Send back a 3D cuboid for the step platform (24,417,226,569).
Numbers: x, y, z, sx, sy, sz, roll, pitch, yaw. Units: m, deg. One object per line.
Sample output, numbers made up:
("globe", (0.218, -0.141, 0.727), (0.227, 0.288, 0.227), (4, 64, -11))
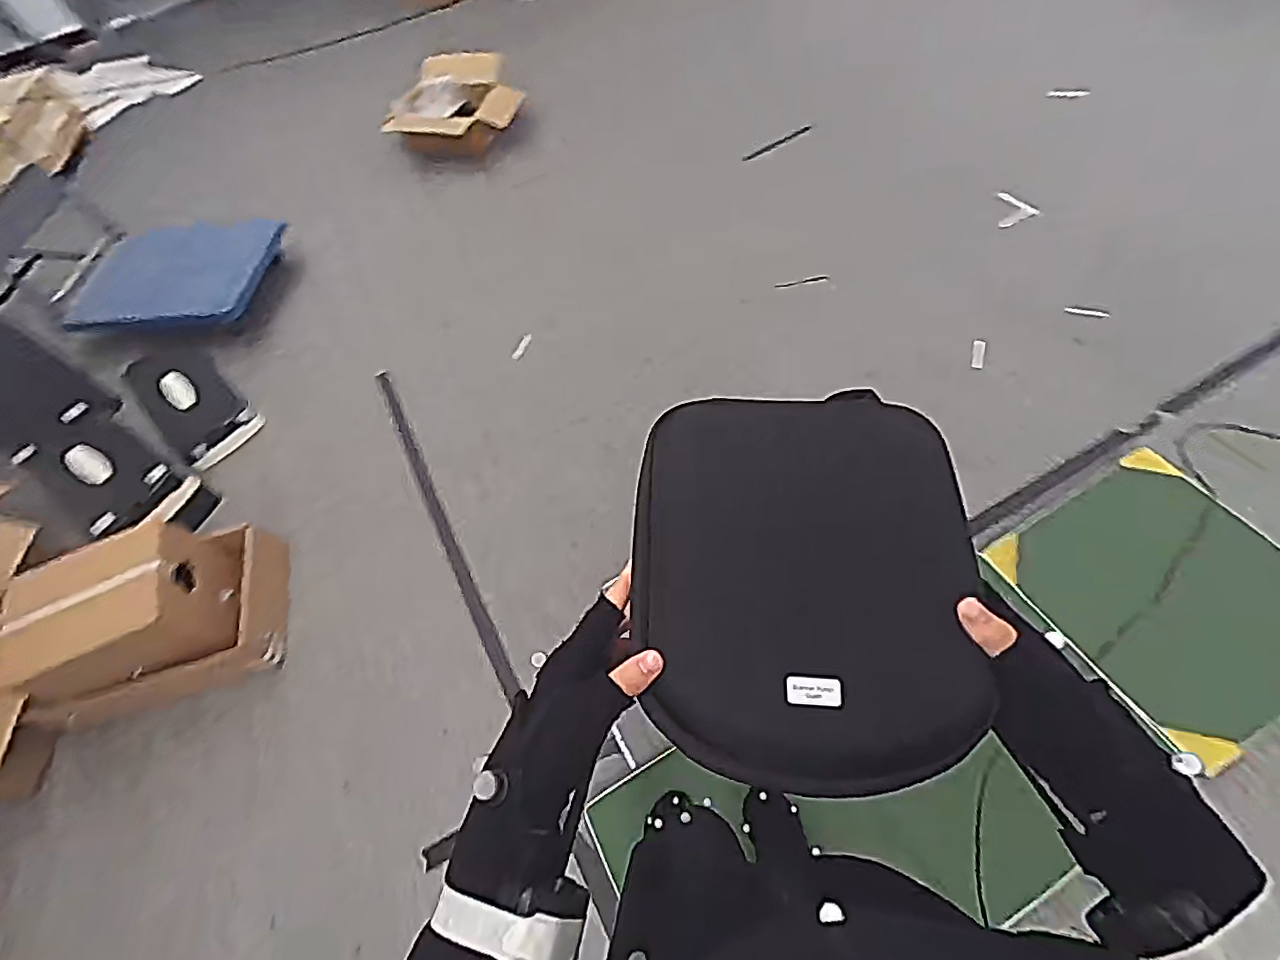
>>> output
("step platform", (-1.794, 0.030, 1.881), (0.684, 0.204, 0.286), (25, 67, 20))
